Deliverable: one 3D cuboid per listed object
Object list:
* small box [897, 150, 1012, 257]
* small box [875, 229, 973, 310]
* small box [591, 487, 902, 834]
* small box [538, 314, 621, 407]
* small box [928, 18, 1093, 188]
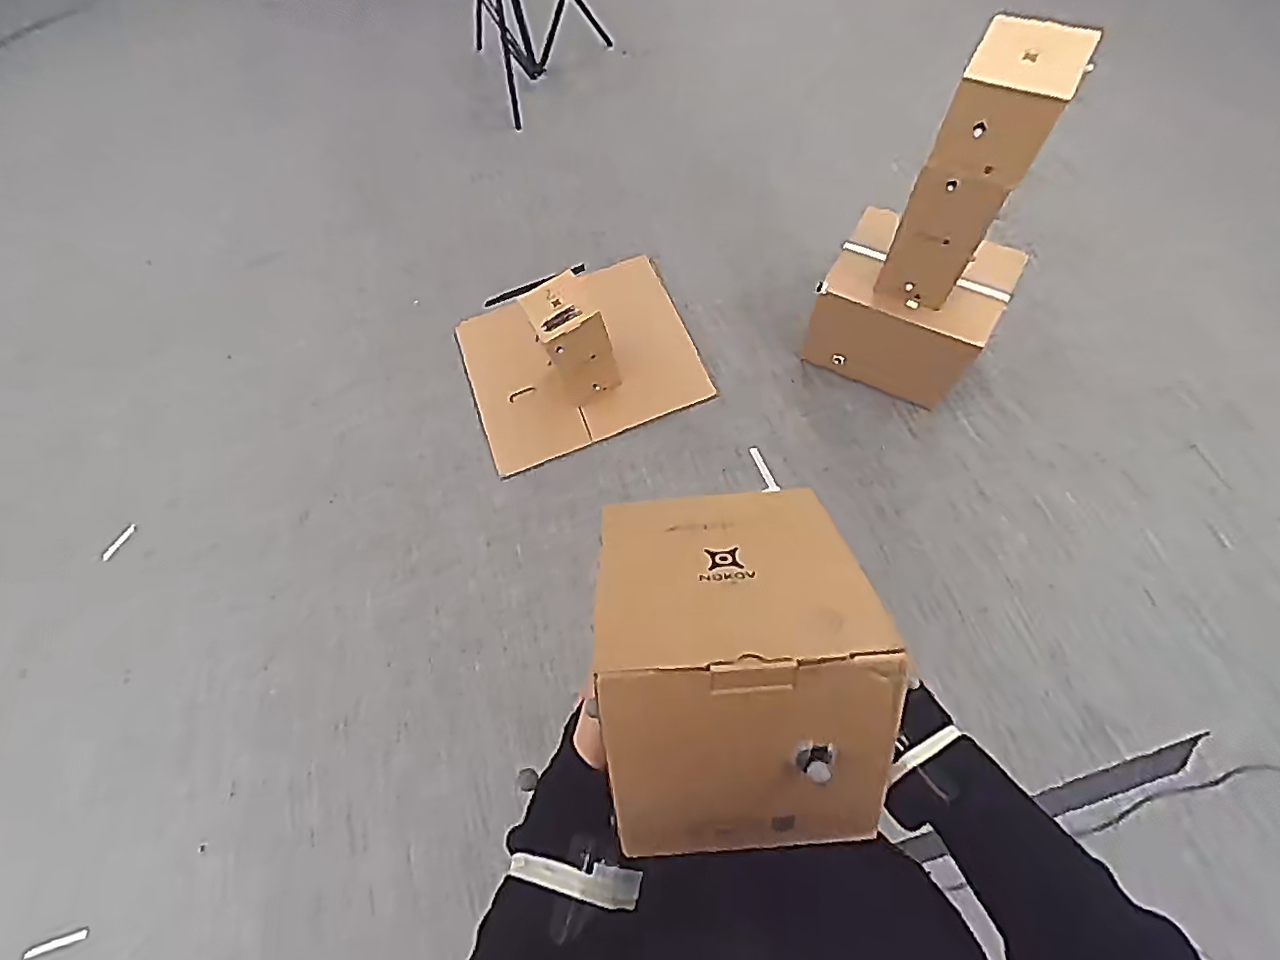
[{"bbox_3d":[0.653,-0.598,1.103,0.168,0.176,0.179,26,73,17],"label":"small box"},{"bbox_3d":[0.671,-0.535,1.254,0.168,0.176,0.179,26,74,16],"label":"small box"},{"bbox_3d":[0.061,0.124,0.387,0.168,0.176,0.179,-4,27,1],"label":"small box"},{"bbox_3d":[-0.176,-0.350,1.612,0.168,0.176,0.179,-30,68,-3],"label":"small box"},{"bbox_3d":[0.636,-0.655,0.952,0.168,0.176,0.179,26,73,16],"label":"small box"}]
